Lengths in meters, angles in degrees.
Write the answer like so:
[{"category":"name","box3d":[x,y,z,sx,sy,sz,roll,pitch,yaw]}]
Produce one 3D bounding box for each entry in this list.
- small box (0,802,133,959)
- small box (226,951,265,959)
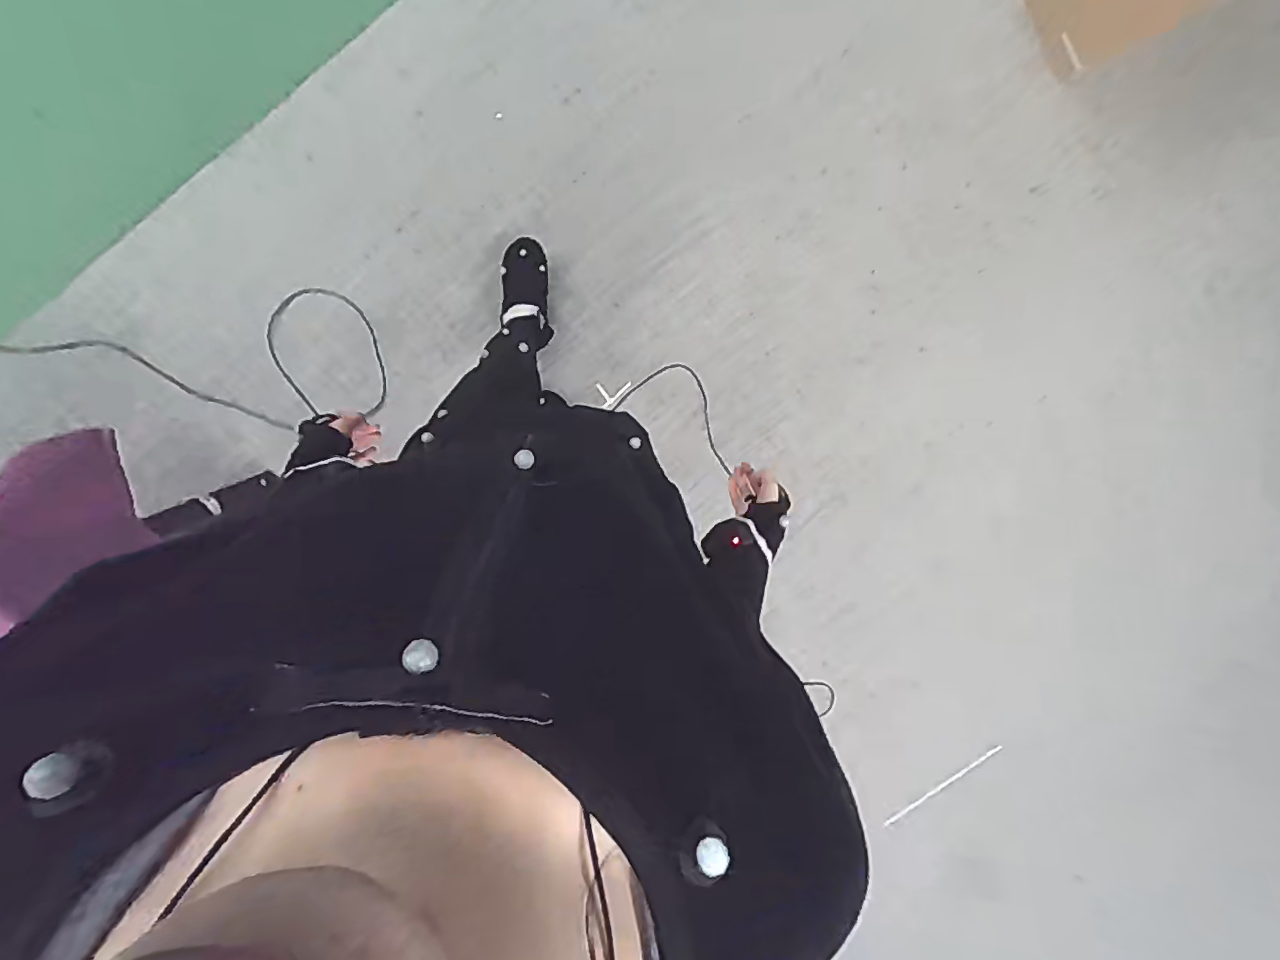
[{"category":"small box","box3d":[-0.891,0.604,0.756,0.168,0.176,0.179,-36,103,4]},{"category":"small box","box3d":[-0.663,0.908,0.850,0.168,0.176,0.179,-38,103,5]}]
